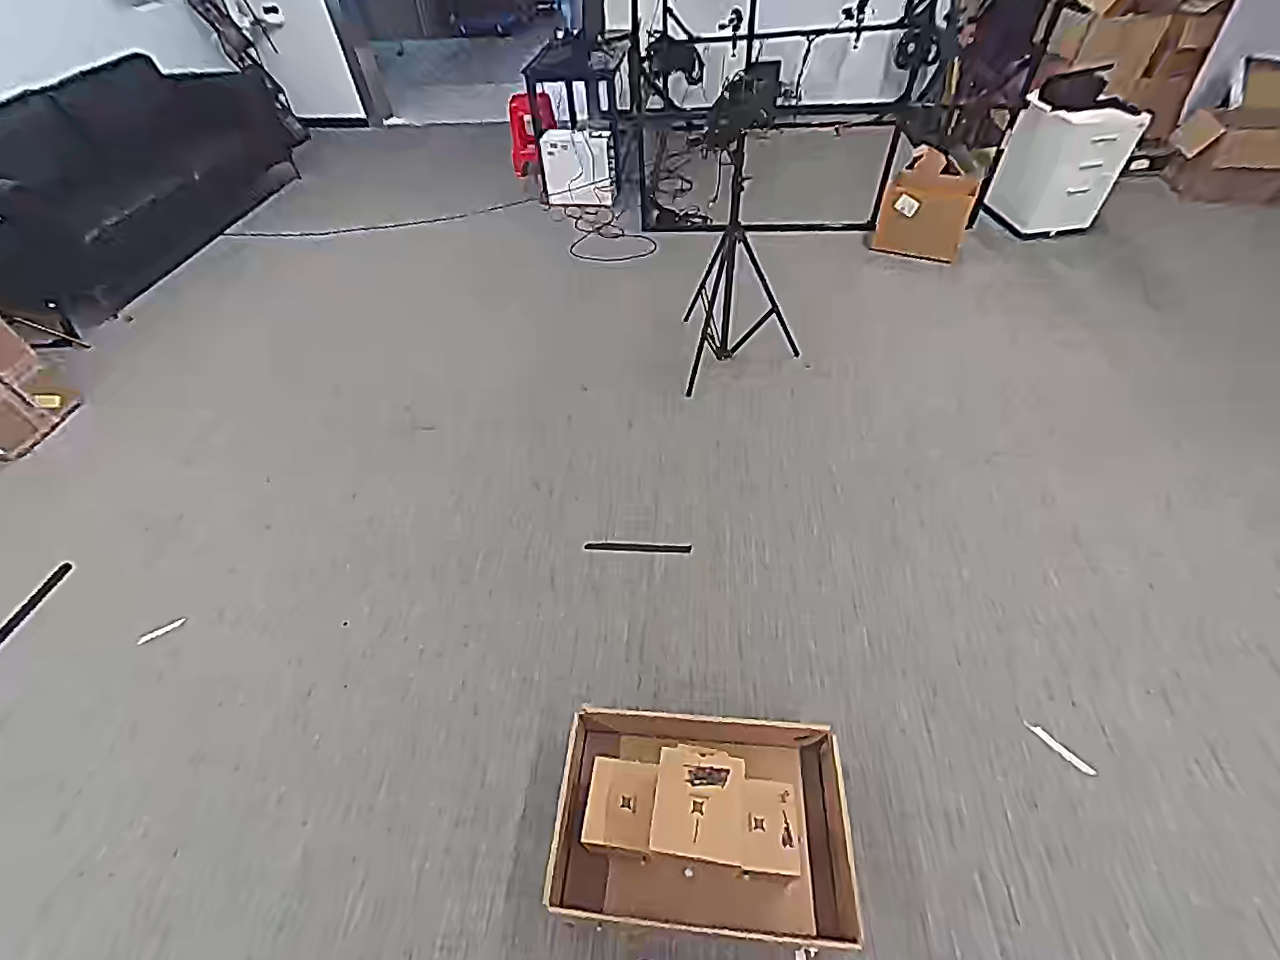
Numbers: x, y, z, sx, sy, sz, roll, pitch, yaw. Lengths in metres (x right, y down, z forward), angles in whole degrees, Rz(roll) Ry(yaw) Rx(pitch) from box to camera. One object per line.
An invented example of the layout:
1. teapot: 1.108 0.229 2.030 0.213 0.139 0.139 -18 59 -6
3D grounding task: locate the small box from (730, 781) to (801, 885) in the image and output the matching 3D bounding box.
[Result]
1. small box: 0.246 0.766 1.175 0.179 0.176 0.168 0 49 8

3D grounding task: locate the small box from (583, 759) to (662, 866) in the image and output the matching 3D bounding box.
1. small box: -0.018 0.745 1.209 0.179 0.176 0.168 4 48 8

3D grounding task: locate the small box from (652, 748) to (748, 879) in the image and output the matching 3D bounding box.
1. small box: 0.117 0.655 1.061 0.168 0.176 0.179 5 49 9
